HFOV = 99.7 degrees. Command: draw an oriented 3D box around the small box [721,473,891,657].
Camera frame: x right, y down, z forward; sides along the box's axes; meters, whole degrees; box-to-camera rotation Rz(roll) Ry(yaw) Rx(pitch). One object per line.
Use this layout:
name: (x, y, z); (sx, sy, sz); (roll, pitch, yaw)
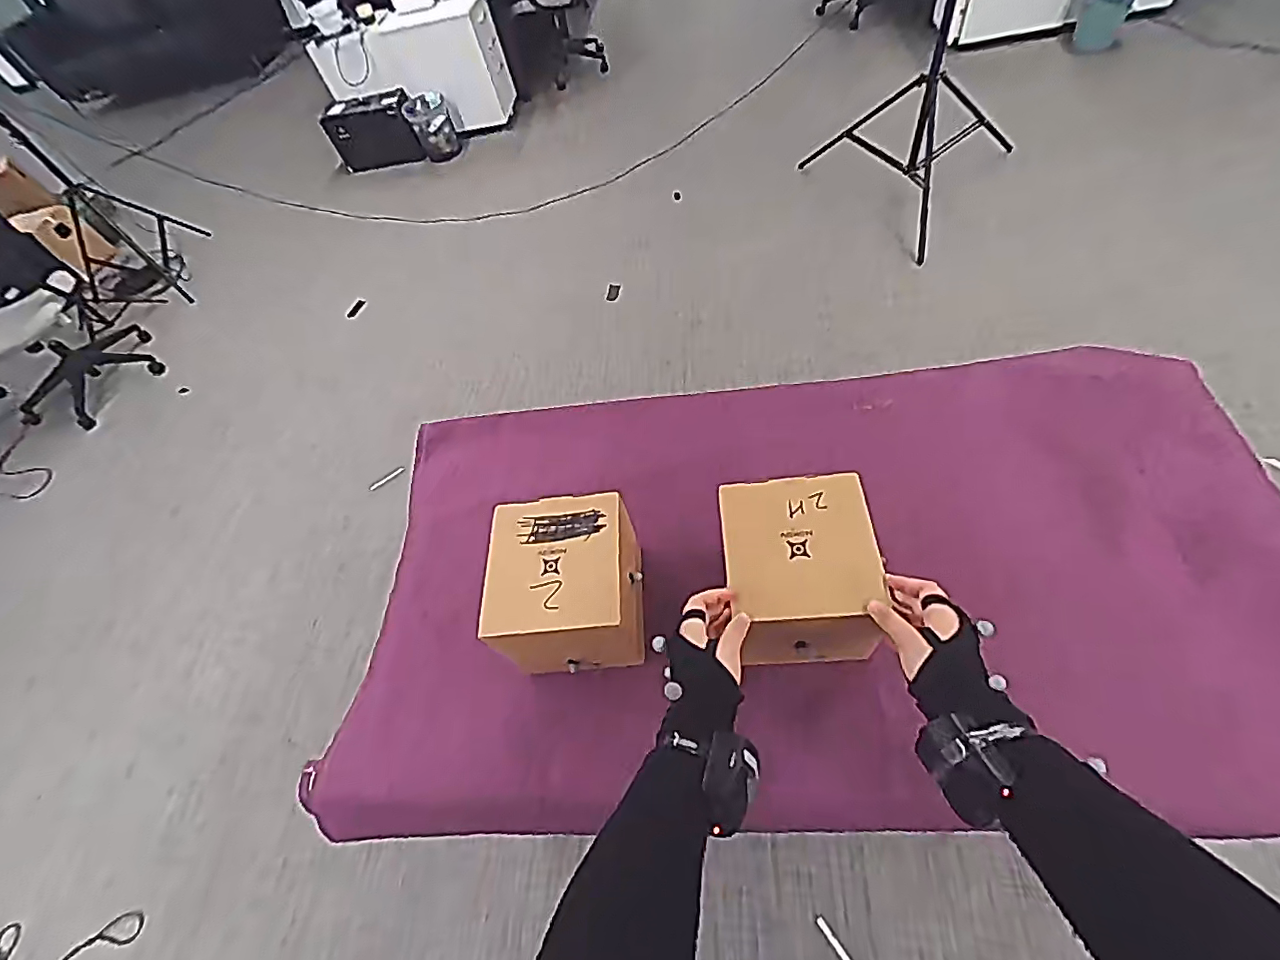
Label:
small box: (0.192, 0.115, 0.671); (0.168, 0.176, 0.179); (-5, 55, 8)
